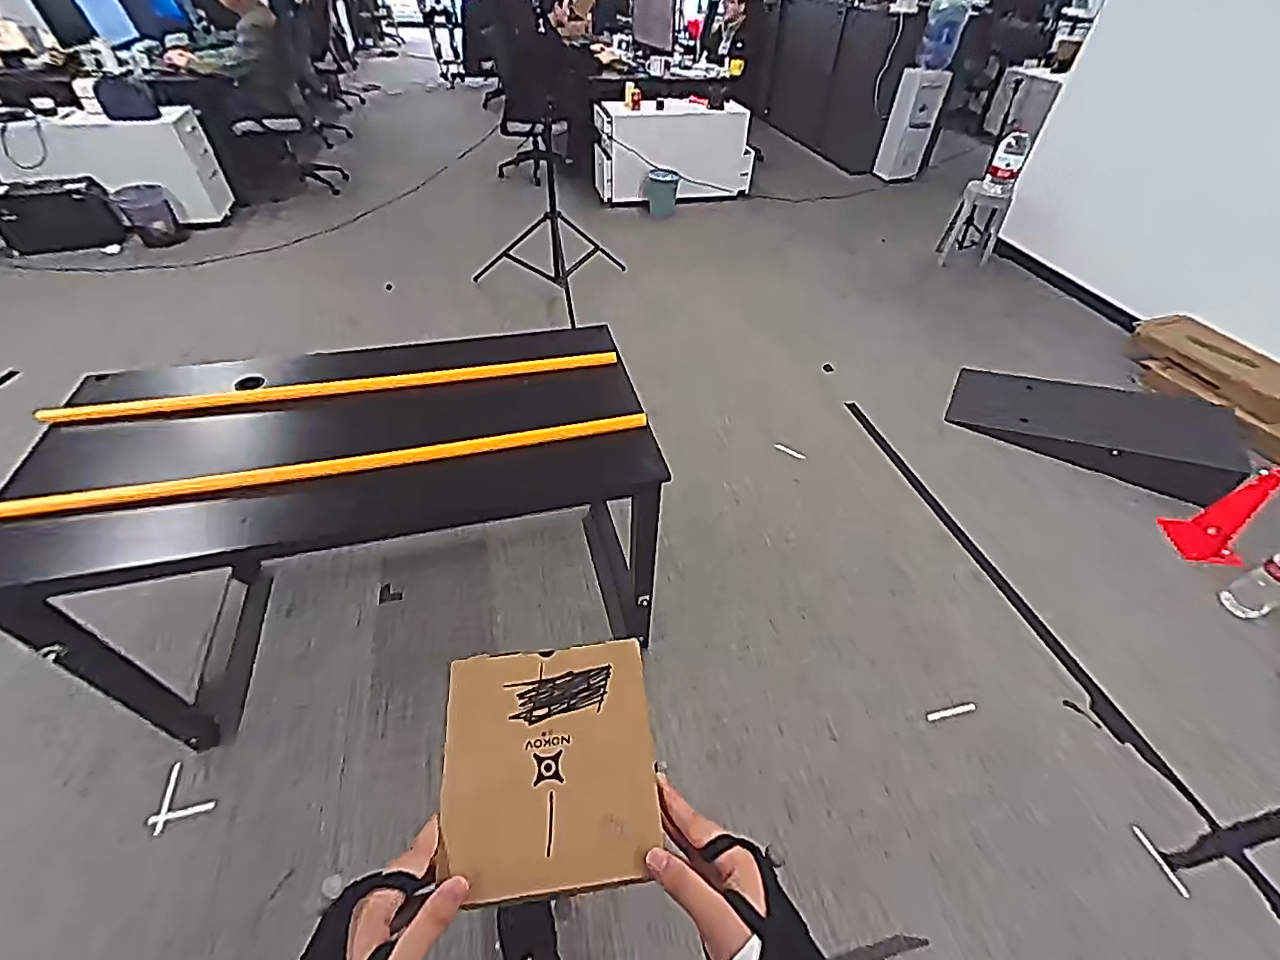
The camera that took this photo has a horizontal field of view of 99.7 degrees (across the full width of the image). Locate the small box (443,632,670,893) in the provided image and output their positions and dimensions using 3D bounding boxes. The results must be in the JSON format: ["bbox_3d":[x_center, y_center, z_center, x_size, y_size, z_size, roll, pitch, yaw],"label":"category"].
[{"bbox_3d":[-0.069,0.263,0.501,0.168,0.176,0.179,-6,53,-4],"label":"small box"}]
